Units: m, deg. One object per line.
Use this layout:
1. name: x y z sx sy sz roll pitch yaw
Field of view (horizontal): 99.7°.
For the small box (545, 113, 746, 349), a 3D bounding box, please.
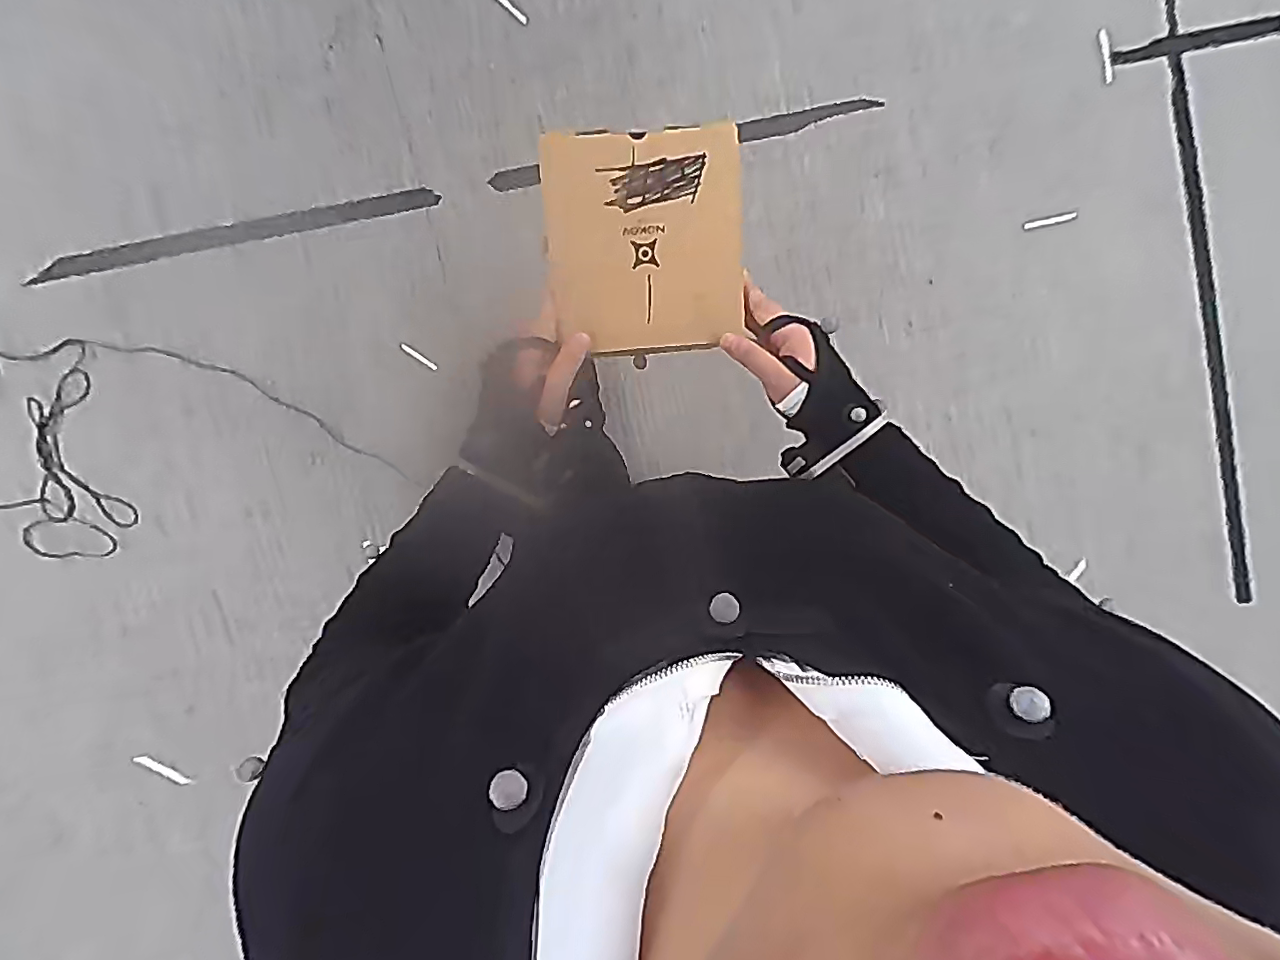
1. small box: 0.003 -0.228 0.538 0.168 0.176 0.179 -5 102 -2
